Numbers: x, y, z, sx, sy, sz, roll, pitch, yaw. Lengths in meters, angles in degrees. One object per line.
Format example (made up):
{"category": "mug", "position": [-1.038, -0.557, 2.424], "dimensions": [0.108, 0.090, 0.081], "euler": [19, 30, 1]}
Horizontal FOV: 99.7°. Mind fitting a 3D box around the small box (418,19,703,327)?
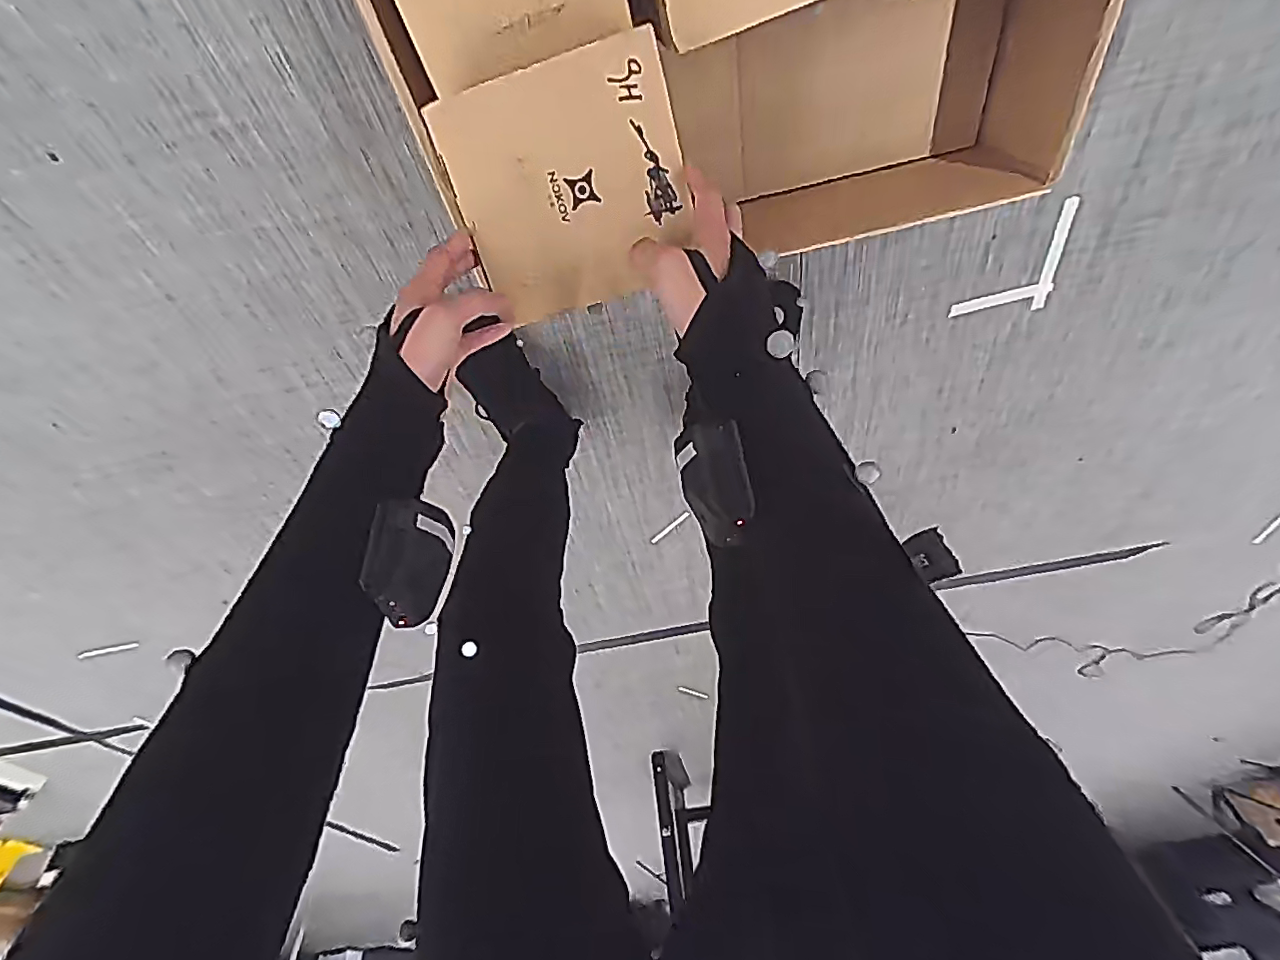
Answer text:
{"category": "small box", "position": [-0.053, -0.247, 0.474], "dimensions": [0.179, 0.176, 0.168], "euler": [-15, 114, 7]}
